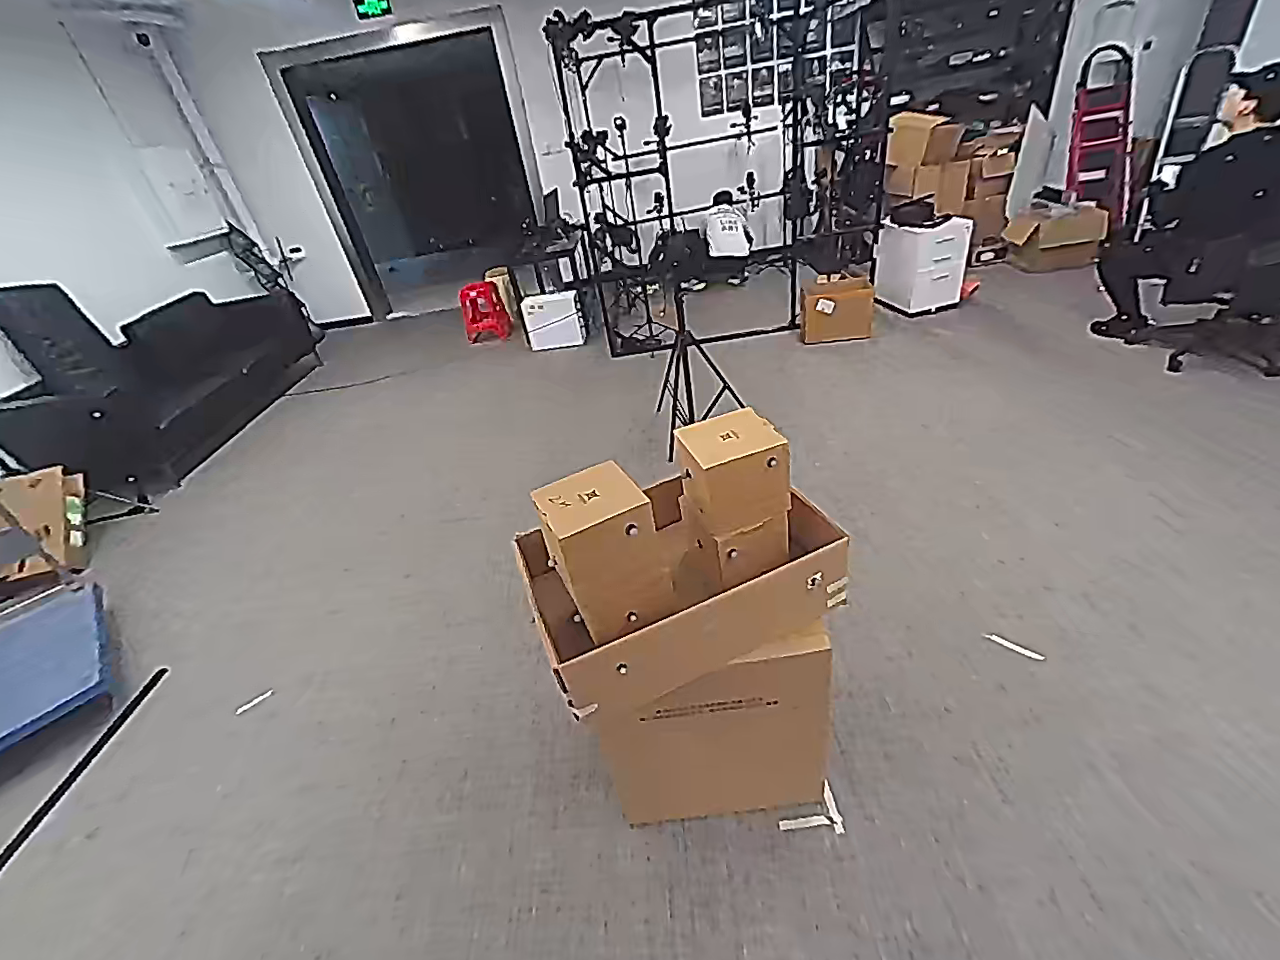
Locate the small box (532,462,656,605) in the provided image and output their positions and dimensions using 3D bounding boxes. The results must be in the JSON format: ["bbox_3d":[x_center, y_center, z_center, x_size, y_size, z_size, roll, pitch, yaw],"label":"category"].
[{"bbox_3d":[-0.080,0.098,1.014,0.179,0.176,0.168,-23,36,-17],"label":"small box"}]

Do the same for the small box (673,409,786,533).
[{"bbox_3d":[0.185,-0.018,1.106,0.179,0.176,0.168,-18,35,-9],"label":"small box"}]
